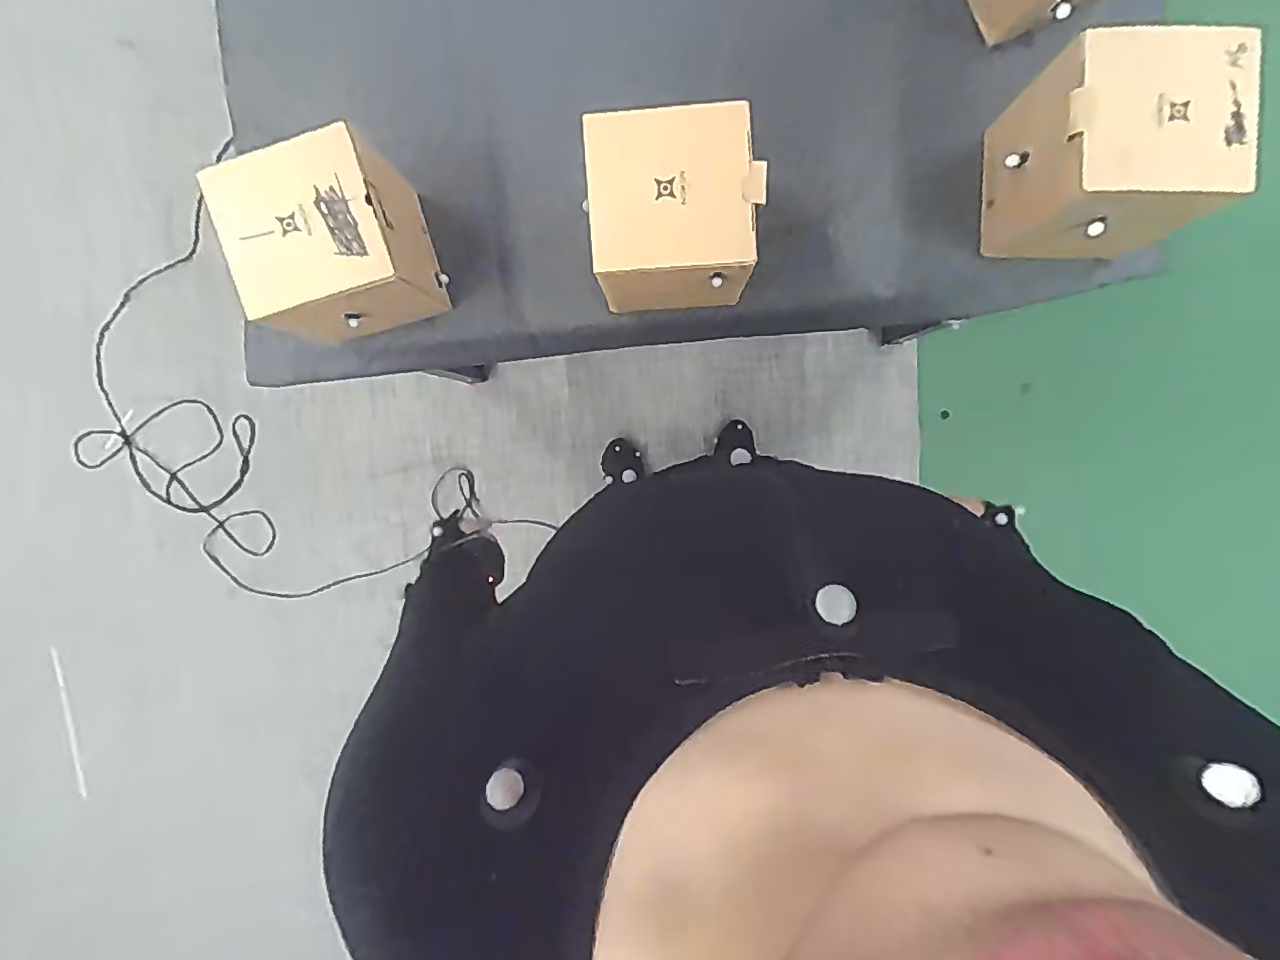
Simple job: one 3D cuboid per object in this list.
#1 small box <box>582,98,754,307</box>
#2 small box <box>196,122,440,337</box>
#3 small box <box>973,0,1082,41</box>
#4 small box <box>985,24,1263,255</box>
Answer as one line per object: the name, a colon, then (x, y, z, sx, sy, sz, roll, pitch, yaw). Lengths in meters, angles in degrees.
small box: (0.034, -0.311, 0.642, 0.179, 0.176, 0.168, -3, 94, 2)
small box: (-0.363, -0.284, 0.653, 0.179, 0.176, 0.168, -16, 96, 3)
small box: (0.478, -0.654, 0.596, 0.168, 0.176, 0.179, -26, 96, 7)
small box: (0.529, -0.370, 0.618, 0.179, 0.176, 0.168, 2, 92, 2)
